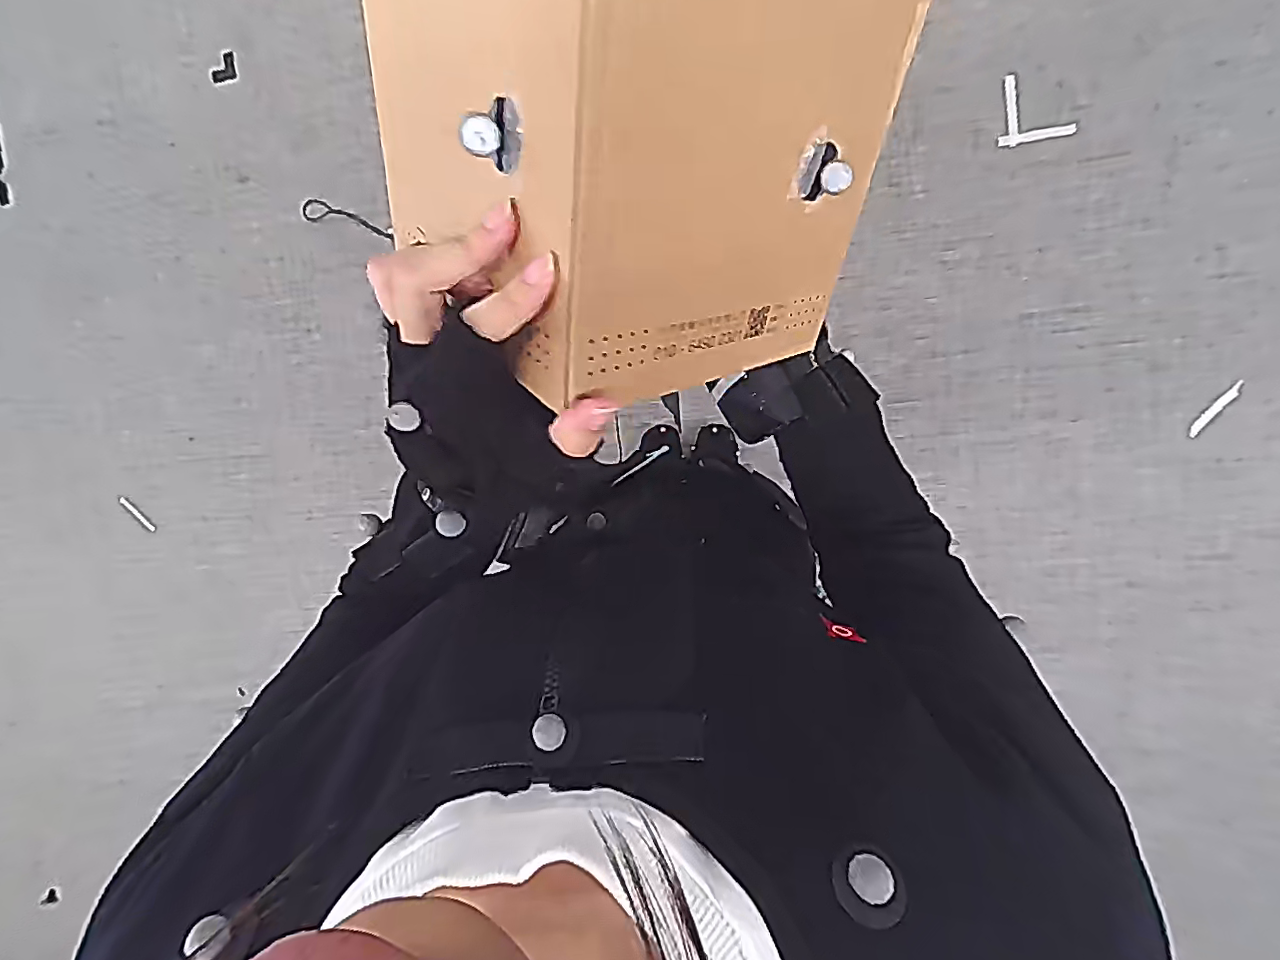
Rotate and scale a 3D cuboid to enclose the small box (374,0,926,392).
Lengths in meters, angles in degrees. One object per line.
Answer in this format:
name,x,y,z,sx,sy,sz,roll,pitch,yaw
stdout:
small box,-0.008,-0.154,0.260,0.179,0.168,0.176,42,138,36
